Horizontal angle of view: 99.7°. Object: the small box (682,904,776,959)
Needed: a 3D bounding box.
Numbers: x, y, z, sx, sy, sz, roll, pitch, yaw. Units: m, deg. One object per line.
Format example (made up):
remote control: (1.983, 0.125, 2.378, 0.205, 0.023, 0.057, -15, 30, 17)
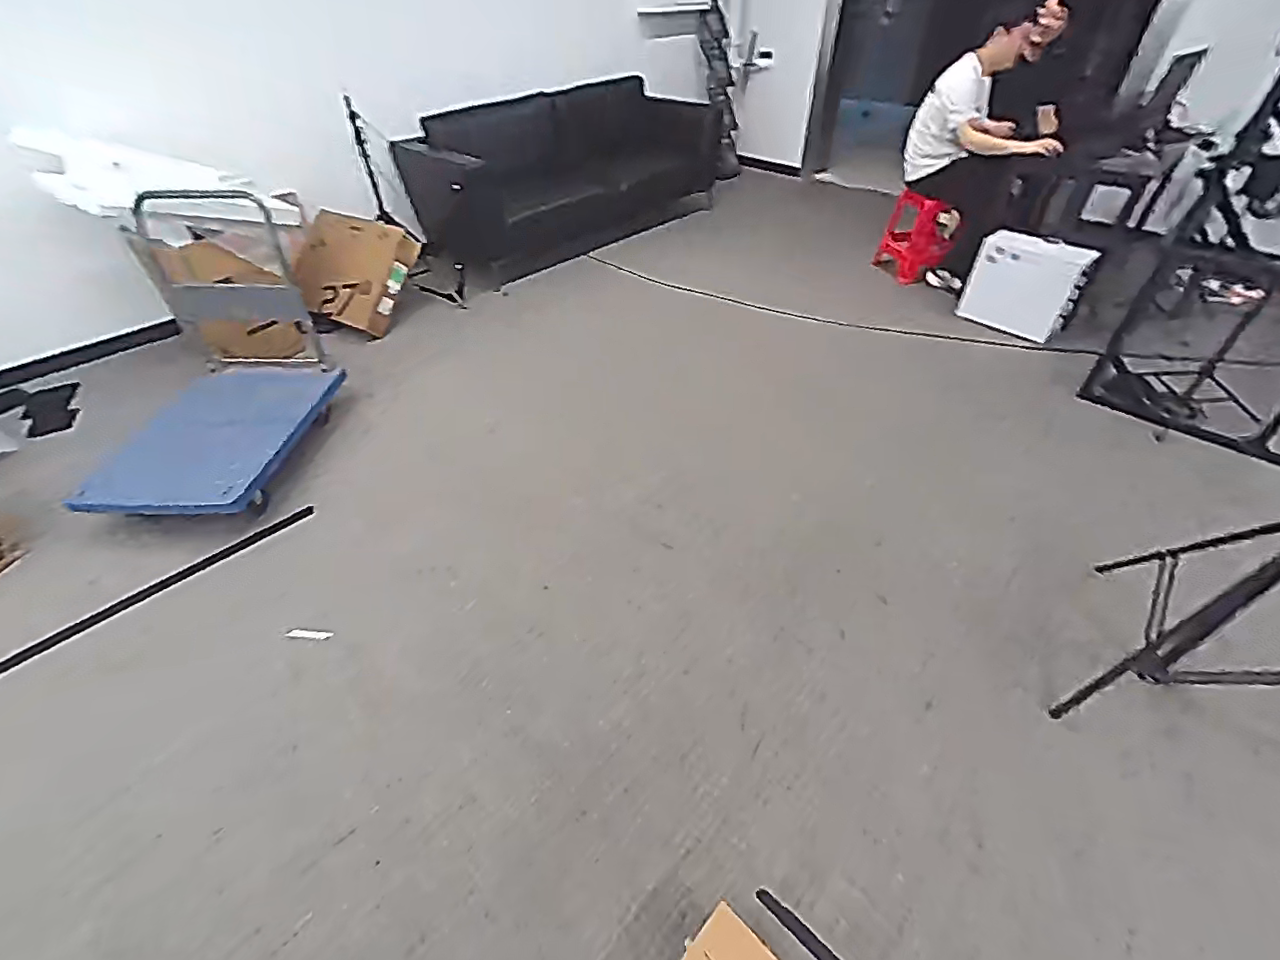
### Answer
small box: (0.159, 0.903, 0.948, 0.168, 0.176, 0.179, -34, 50, -31)
